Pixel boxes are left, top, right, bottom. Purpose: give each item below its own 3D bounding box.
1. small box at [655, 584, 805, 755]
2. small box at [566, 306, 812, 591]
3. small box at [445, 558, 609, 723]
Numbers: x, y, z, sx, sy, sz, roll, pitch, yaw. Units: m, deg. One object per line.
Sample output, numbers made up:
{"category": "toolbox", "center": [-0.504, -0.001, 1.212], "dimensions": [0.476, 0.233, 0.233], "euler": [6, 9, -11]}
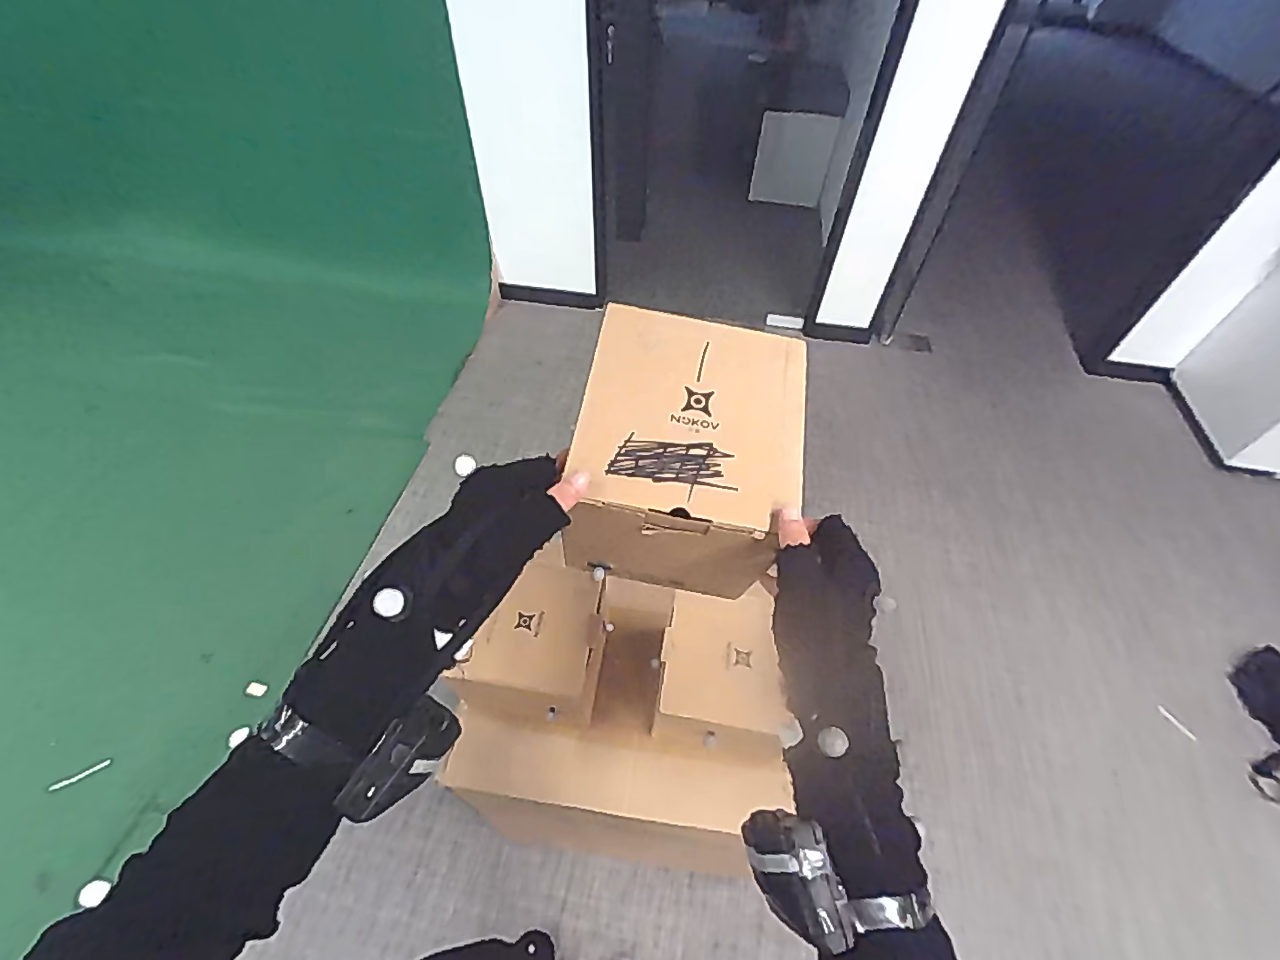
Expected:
{"category": "small box", "center": [0.118, 0.264, 0.741], "dimensions": [0.179, 0.176, 0.168], "euler": [9, 55, 5]}
{"category": "small box", "center": [0.037, -0.016, 0.474], "dimensions": [0.168, 0.176, 0.179], "euler": [12, 63, -1]}
{"category": "small box", "center": [-0.141, 0.231, 0.759], "dimensions": [0.179, 0.176, 0.168], "euler": [6, 53, 4]}
